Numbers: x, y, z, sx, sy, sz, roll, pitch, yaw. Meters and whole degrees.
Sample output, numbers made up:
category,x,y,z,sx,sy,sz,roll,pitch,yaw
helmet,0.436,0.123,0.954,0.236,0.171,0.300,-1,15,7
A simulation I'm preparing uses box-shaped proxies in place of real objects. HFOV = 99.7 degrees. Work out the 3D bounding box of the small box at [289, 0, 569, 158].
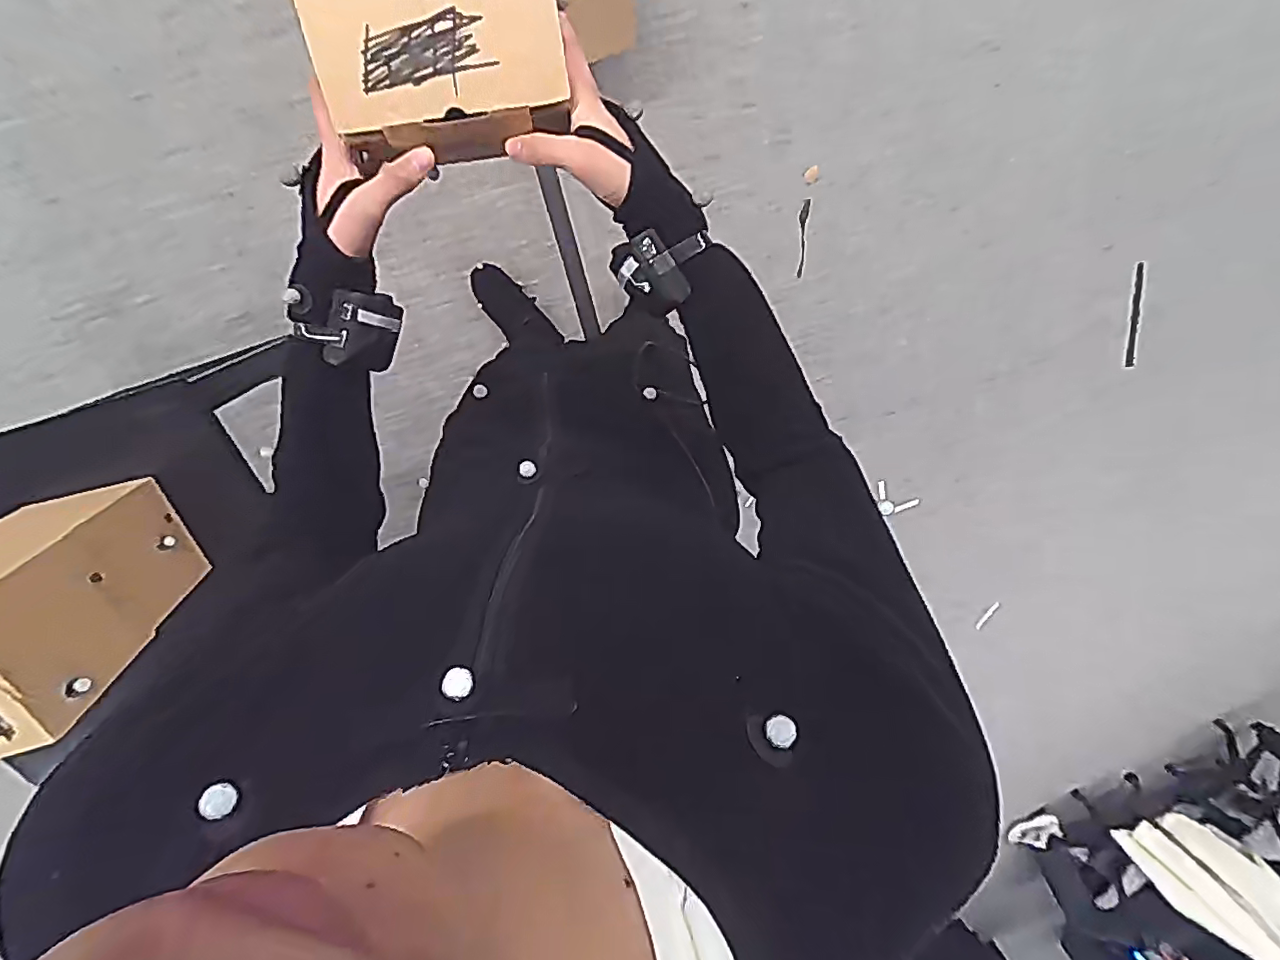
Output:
category,x,y,z,sx,sy,sz,roll,pitch,yaw
small box,-0.149,-0.357,0.407,0.168,0.176,0.179,-11,114,-3

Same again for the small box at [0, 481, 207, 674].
category,x,y,z,sx,sy,sz,roll,pitch,yaw
small box,-0.747,0.121,0.724,0.179,0.176,0.168,-14,117,-6
